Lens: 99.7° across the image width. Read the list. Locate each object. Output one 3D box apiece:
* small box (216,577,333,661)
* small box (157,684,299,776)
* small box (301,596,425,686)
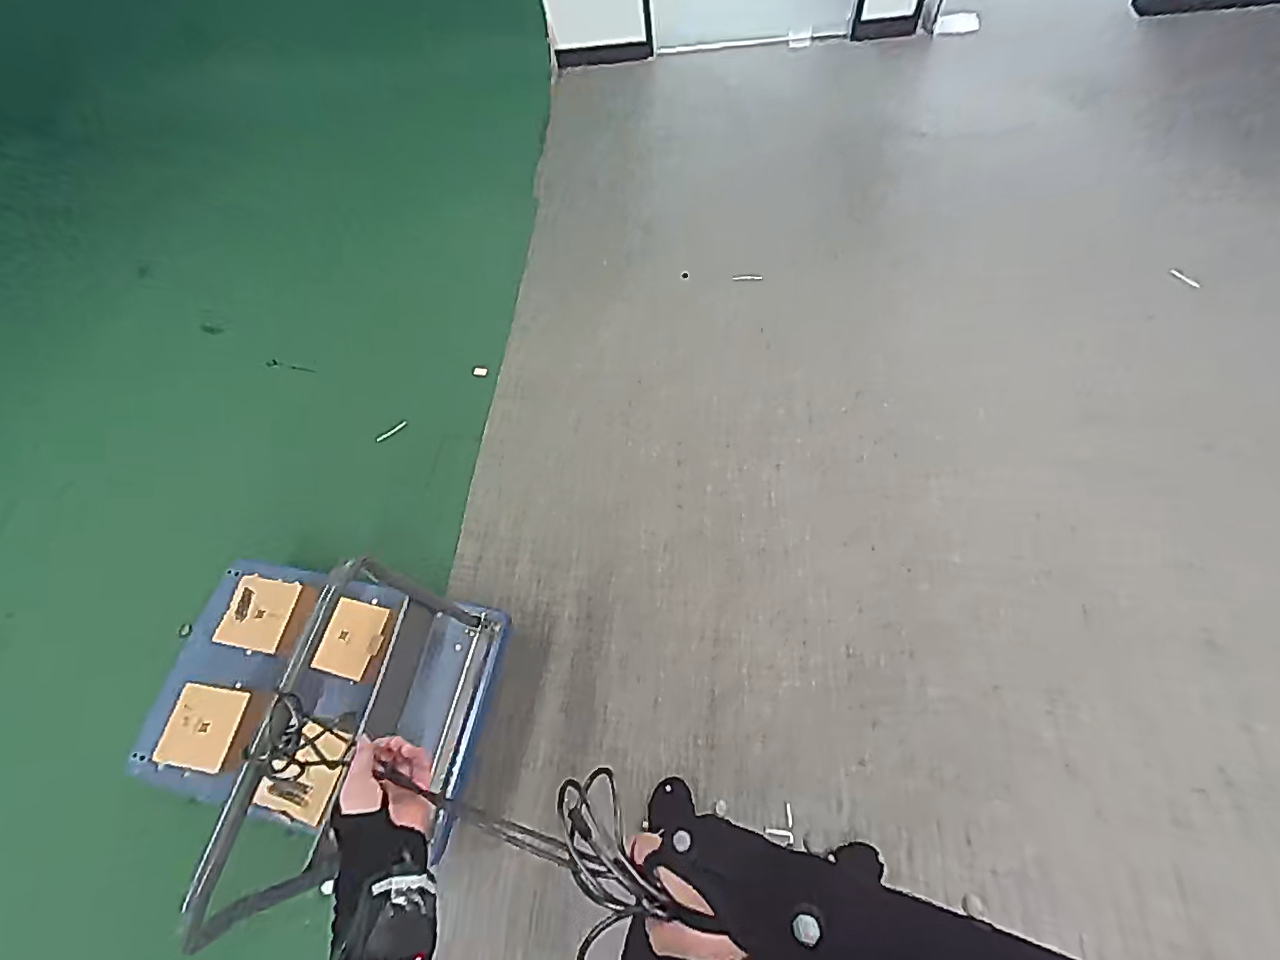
[{"bbox_3d":[-0.906,0.360,1.380,0.179,0.176,0.168,8,67,10],"label":"small box"},{"bbox_3d":[-0.962,0.589,1.282,0.179,0.176,0.168,5,66,10],"label":"small box"},{"bbox_3d":[-0.670,0.401,1.329,0.179,0.176,0.168,10,67,12],"label":"small box"}]
